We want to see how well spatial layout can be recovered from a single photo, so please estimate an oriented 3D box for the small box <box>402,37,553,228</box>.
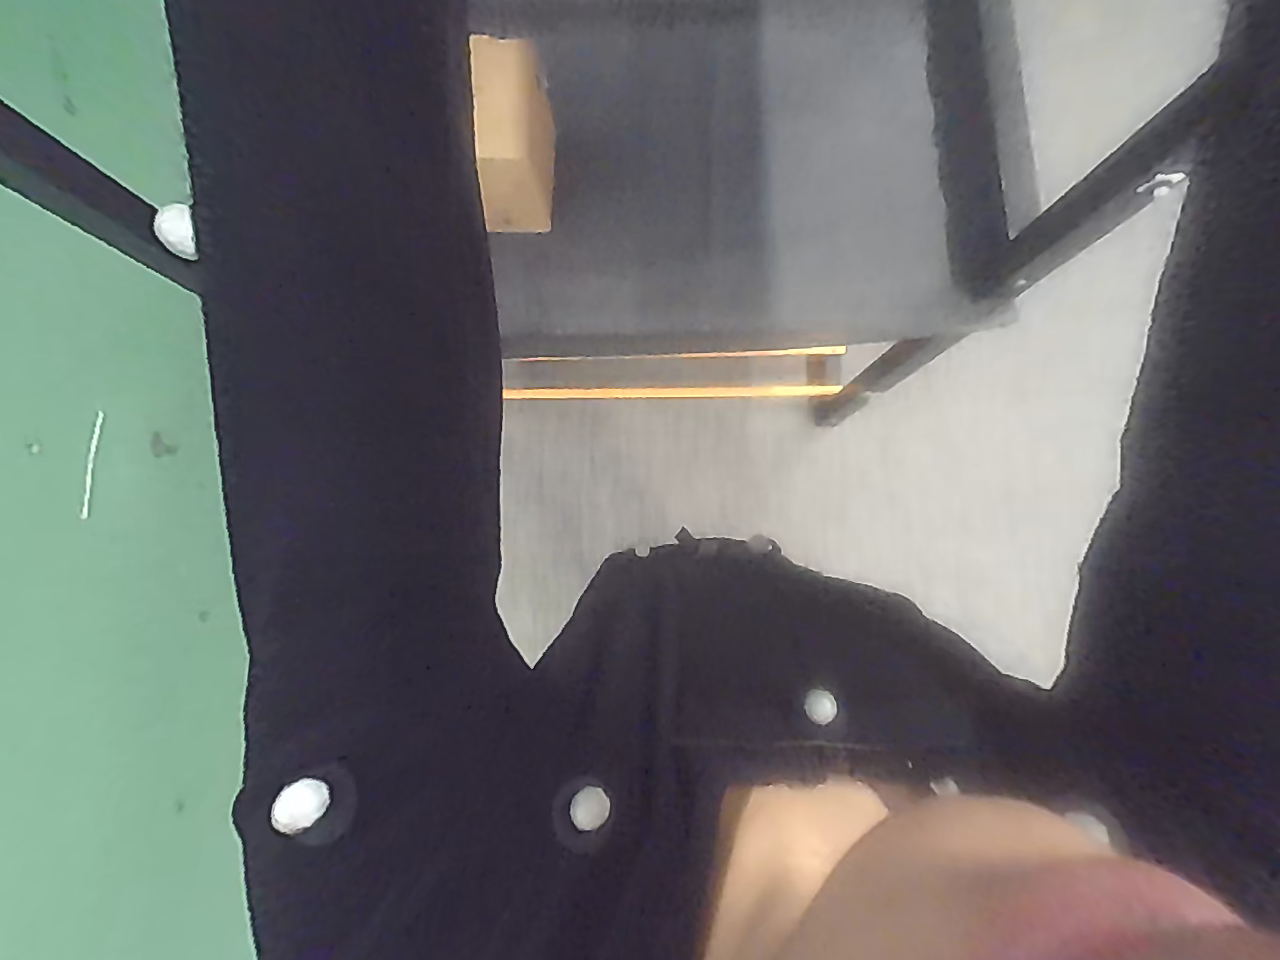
[{"bbox_3d":[-0.223,-0.490,0.783,0.168,0.176,0.179,1,82,1],"label":"small box"}]
